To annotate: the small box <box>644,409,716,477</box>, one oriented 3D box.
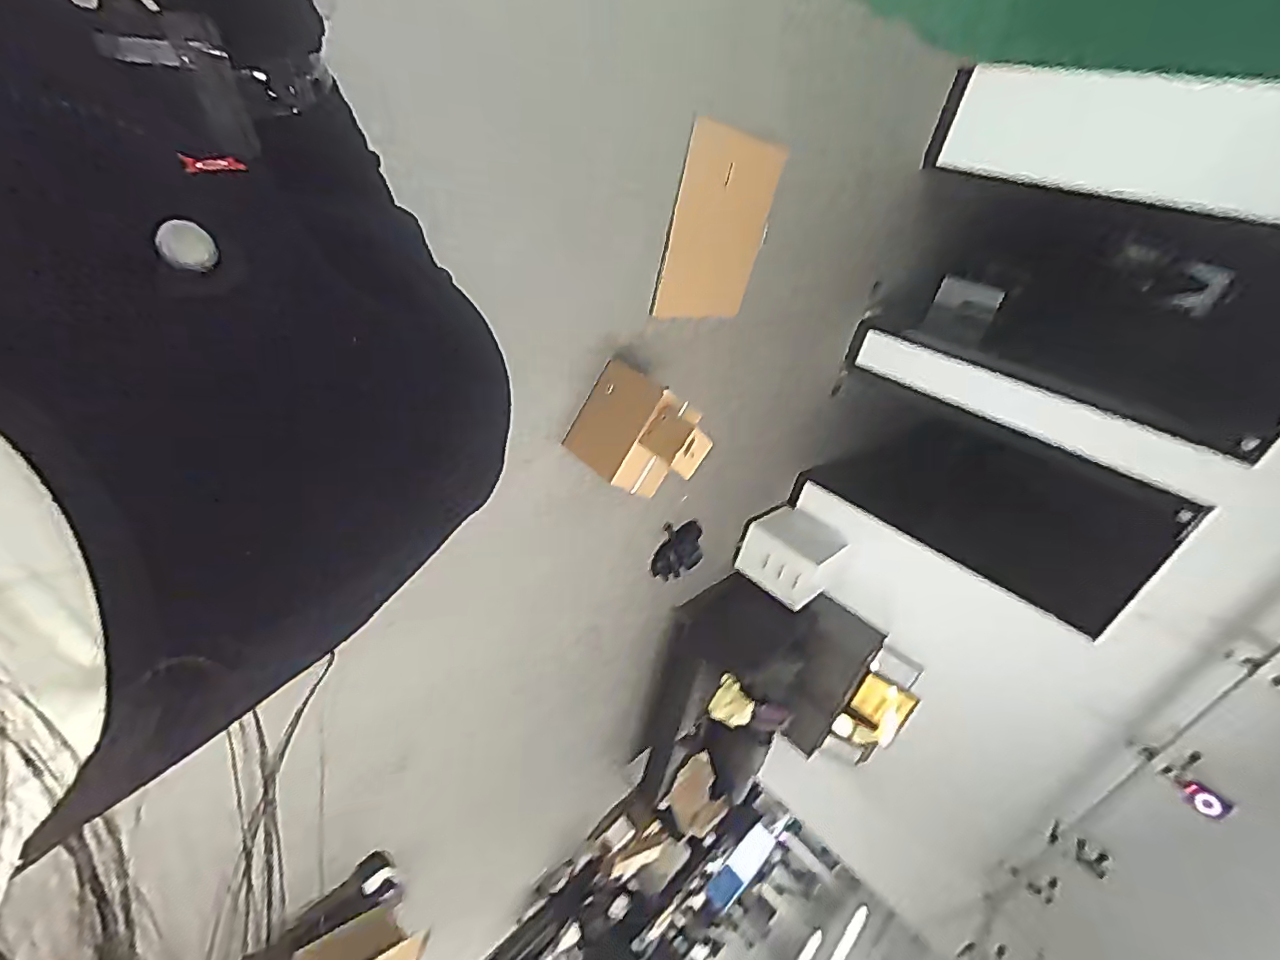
[{"bbox_3d":[0.144,-0.139,1.987,0.168,0.176,0.179,-56,146,0],"label":"small box"}]
